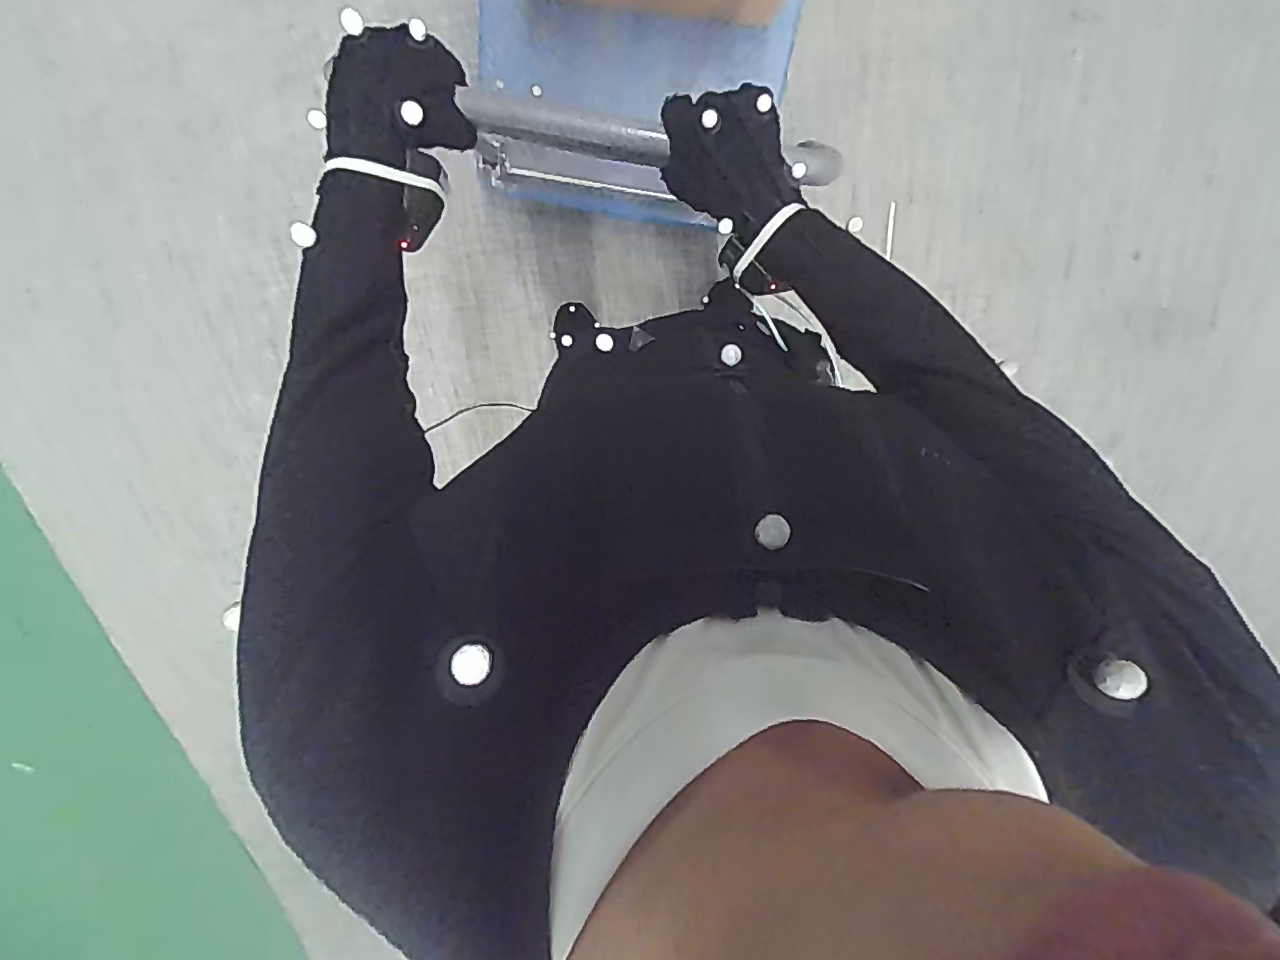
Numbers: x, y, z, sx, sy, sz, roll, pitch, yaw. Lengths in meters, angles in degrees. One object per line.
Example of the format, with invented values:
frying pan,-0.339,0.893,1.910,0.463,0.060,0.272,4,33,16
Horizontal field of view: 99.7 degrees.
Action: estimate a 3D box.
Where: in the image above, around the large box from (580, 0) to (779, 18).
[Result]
large box,0.048,-0.931,0.790,0.408,0.320,0.320,6,115,-1
